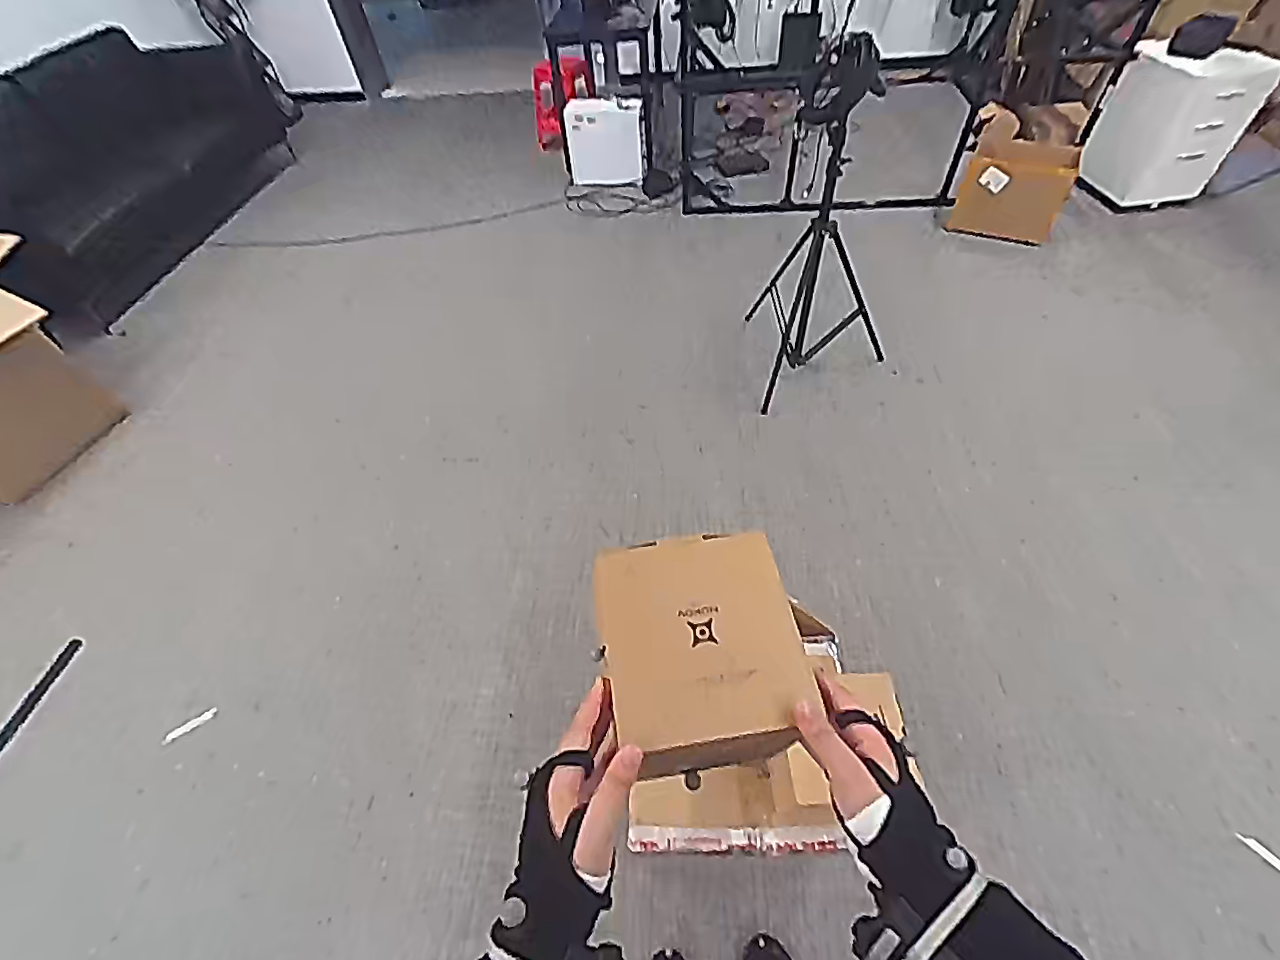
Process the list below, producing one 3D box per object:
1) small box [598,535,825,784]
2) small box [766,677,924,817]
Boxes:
[{"bbox_3d":[0.048,0.176,0.526,0.168,0.176,0.179,-6,55,-8],"label":"small box"},{"bbox_3d":[0.291,0.410,0.827,0.179,0.176,0.168,-4,53,1],"label":"small box"}]
